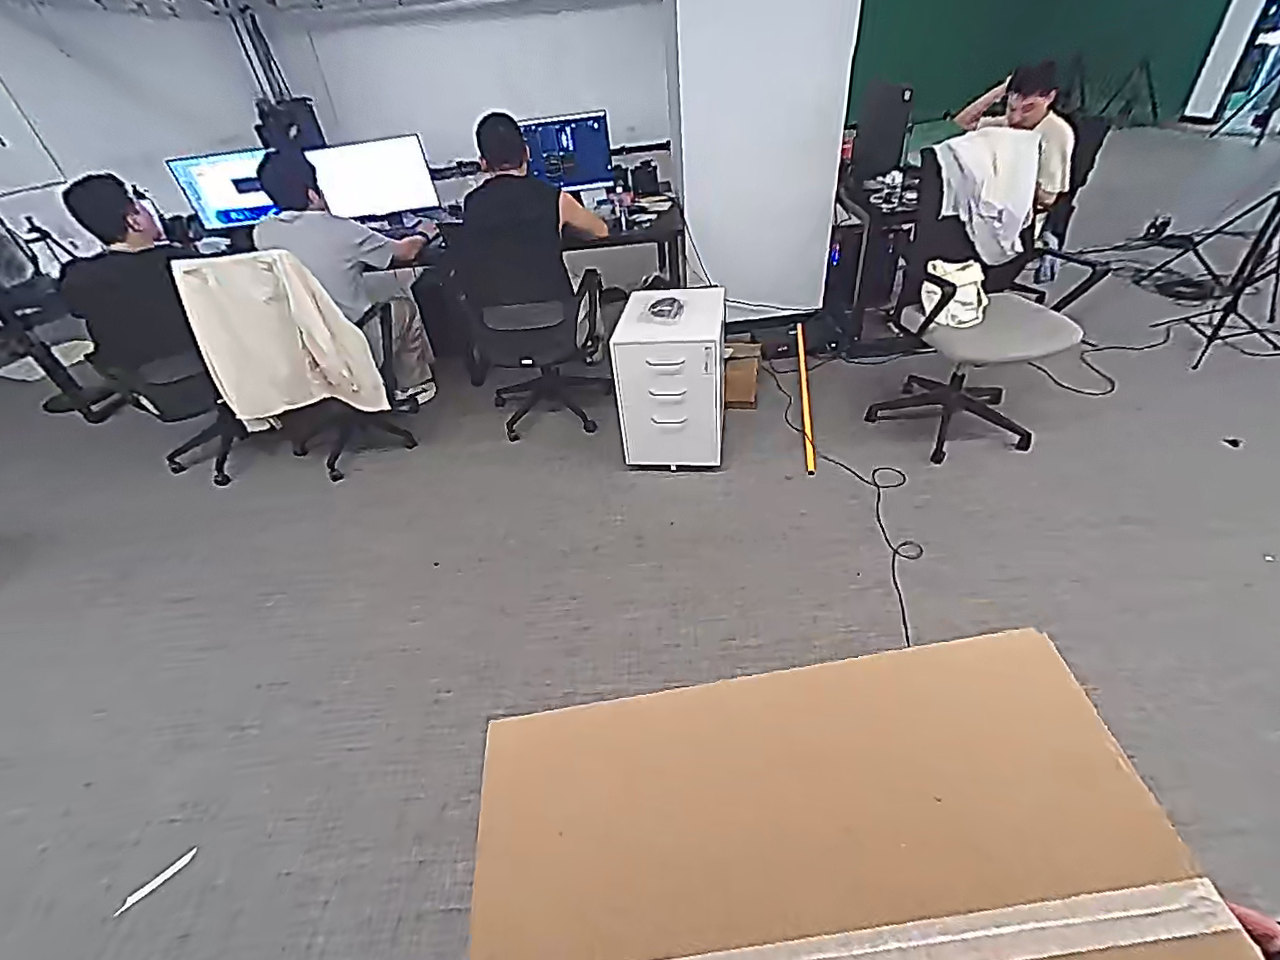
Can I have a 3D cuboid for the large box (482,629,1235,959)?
[{"bbox_3d":[0.129,0.355,0.409,0.408,0.320,0.320,-12,47,4],"label":"large box"}]
